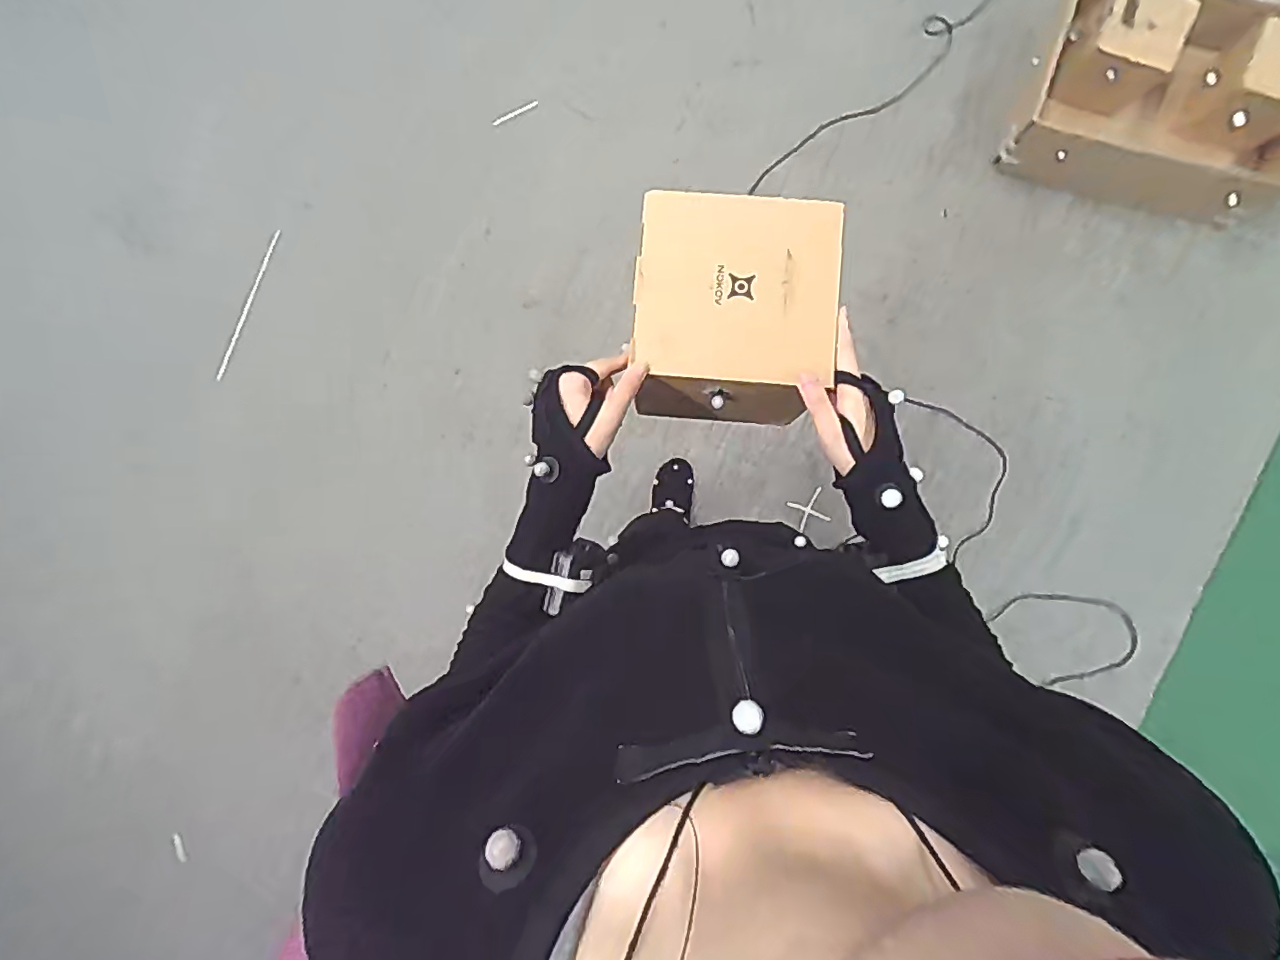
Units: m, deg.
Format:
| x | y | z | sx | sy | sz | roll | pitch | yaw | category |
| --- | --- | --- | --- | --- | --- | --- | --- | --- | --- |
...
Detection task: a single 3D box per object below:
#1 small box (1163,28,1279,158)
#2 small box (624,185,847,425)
| x | y | z | sx | sy | sz | roll | pitch | yaw | category |
| --- | --- | --- | --- | --- | --- | --- | --- | --- | --- |
| 1.422 | -0.908 | 1.285 | 0.179 | 0.176 | 0.168 | 22 | 92 | 5 | small box |
| 0.083 | -0.156 | 0.534 | 0.179 | 0.176 | 0.168 | 6 | 84 | 2 | small box |
